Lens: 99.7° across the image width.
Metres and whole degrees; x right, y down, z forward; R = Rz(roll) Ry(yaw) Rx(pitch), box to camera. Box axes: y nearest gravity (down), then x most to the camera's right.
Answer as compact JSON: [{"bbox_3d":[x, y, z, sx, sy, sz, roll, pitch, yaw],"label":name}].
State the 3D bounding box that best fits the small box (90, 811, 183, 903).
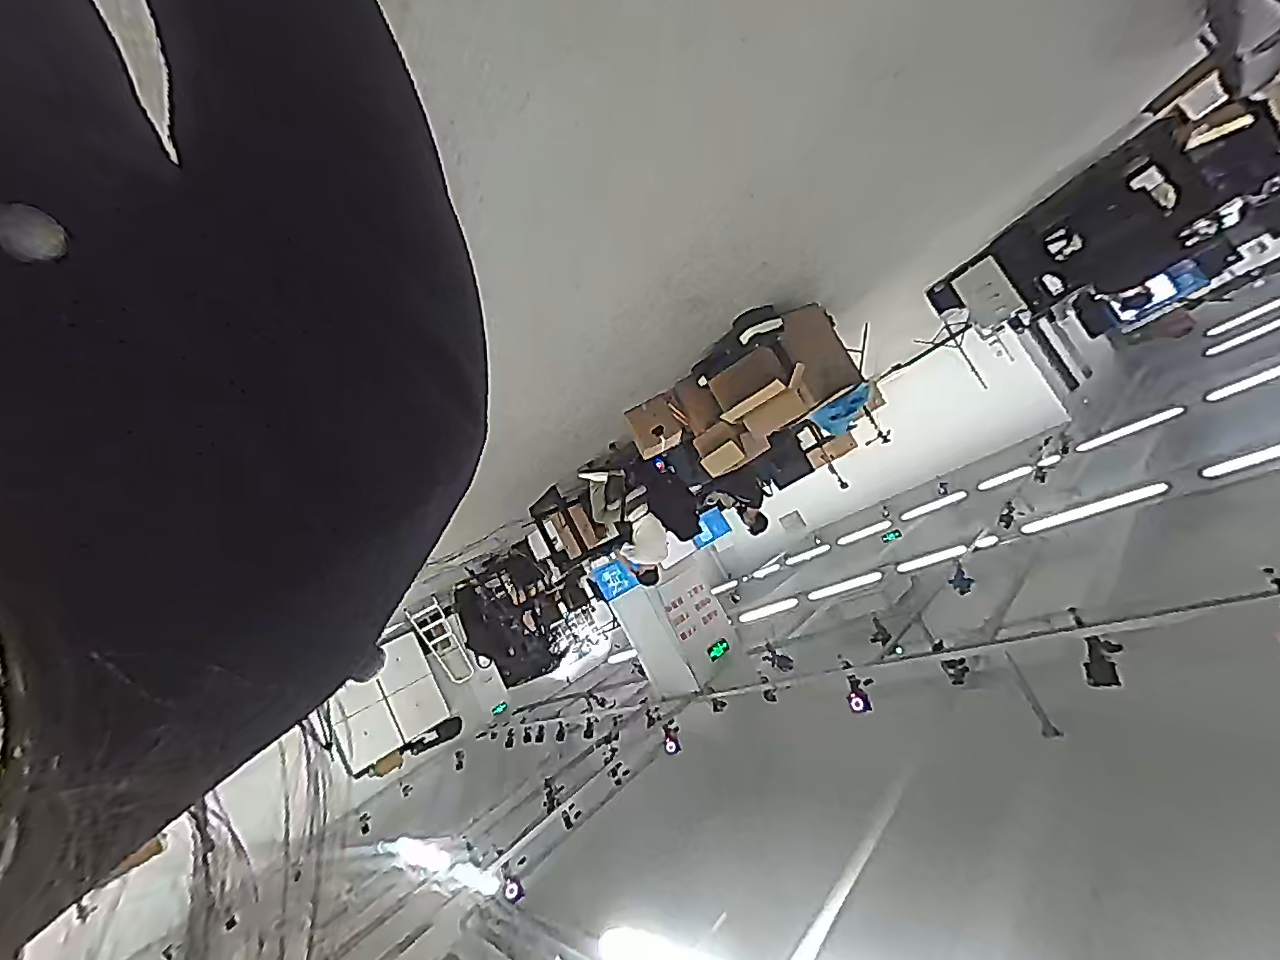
[{"bbox_3d":[-1.563,1.163,1.685,0.168,0.176,0.179,-25,170,-41],"label":"small box"}]
